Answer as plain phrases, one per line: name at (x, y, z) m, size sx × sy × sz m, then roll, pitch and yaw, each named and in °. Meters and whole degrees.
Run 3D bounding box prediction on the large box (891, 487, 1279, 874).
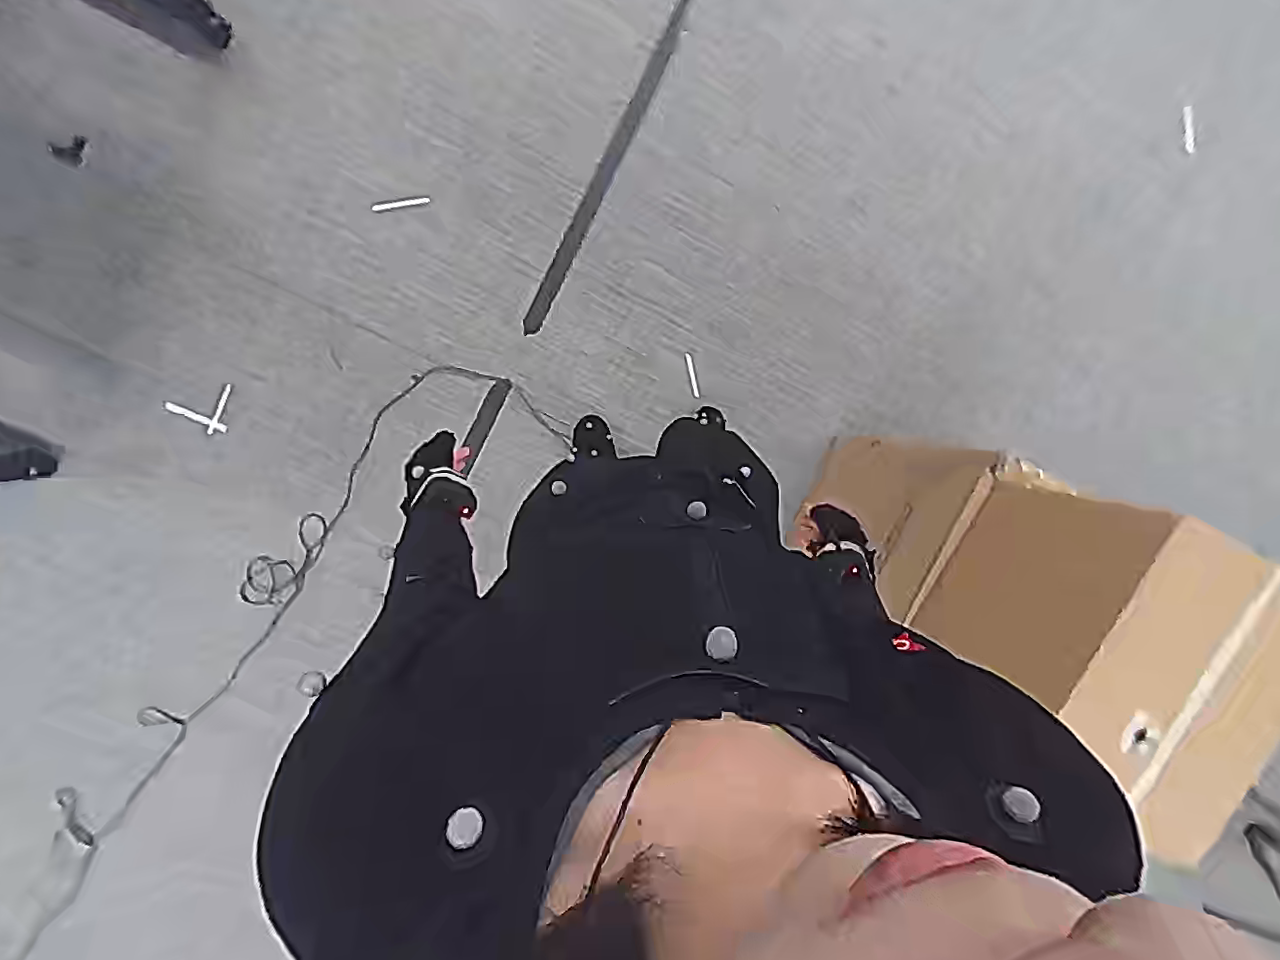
large box at (0.685, 0.270, 0.837) m, size 0.320 × 0.320 × 0.408 m, roll 28°, pitch 95°, yaw -7°
